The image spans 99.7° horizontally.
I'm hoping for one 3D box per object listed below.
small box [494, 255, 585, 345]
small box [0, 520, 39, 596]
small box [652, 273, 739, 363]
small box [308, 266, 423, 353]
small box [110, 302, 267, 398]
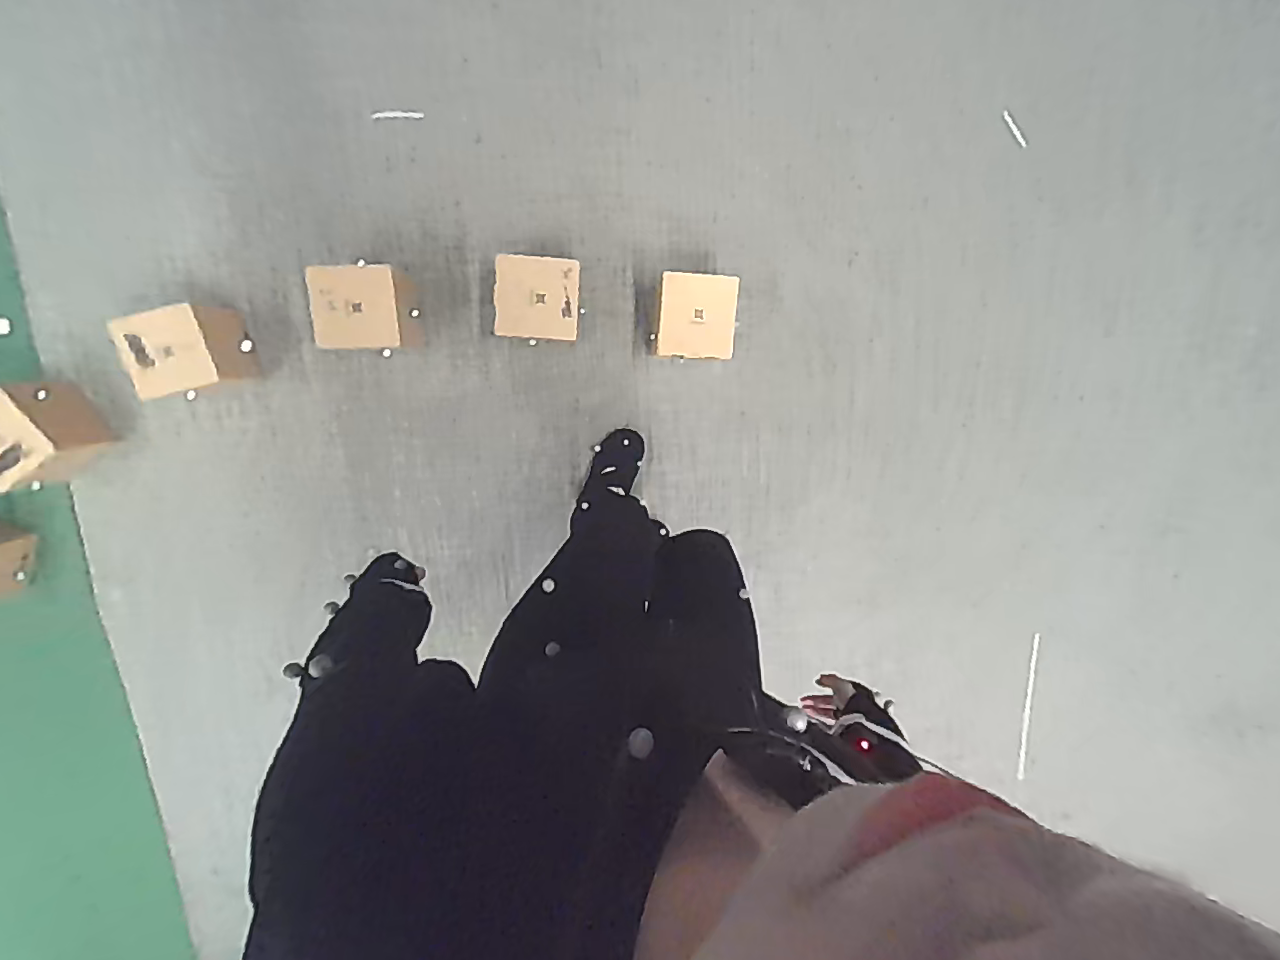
[{"bbox_3d":[-0.220,-0.396,1.214,0.179,0.176,0.168,4,101,-3],"label":"small box"},{"bbox_3d":[-1.586,0.187,1.254,0.179,0.176,0.168,22,100,-7],"label":"small box"},{"bbox_3d":[0.119,-0.364,1.242,0.168,0.176,0.179,3,102,-4],"label":"small box"},{"bbox_3d":[-0.593,-0.372,1.197,0.179,0.176,0.168,-2,101,-3],"label":"small box"},{"bbox_3d":[-0.981,-0.281,1.192,0.179,0.176,0.168,-14,102,-1],"label":"small box"}]
